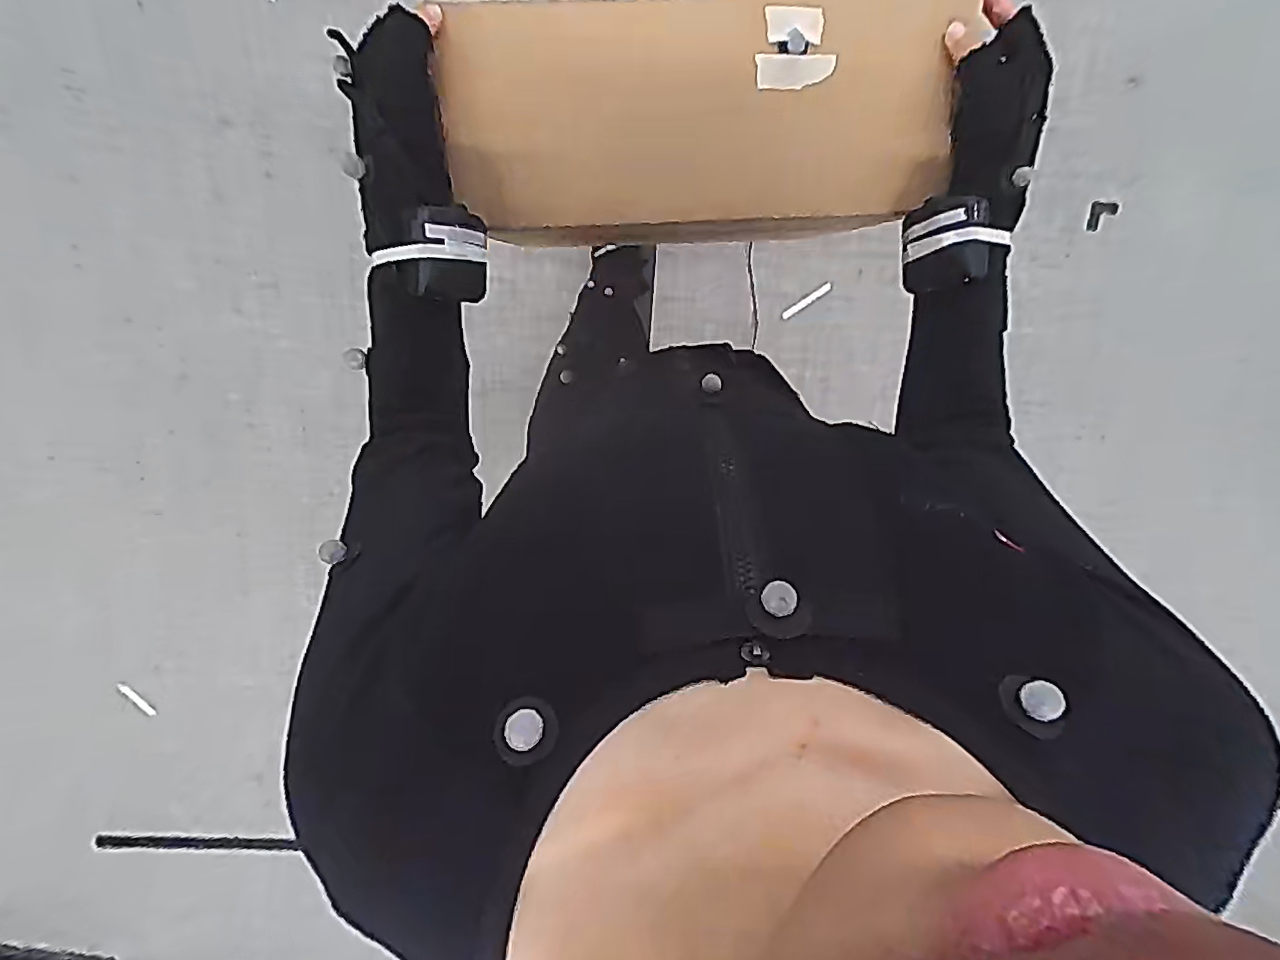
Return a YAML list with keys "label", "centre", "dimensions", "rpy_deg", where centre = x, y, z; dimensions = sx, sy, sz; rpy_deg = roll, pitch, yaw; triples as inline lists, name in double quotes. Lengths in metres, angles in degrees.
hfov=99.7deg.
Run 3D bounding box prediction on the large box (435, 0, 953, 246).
- label: "large box"
  centre: [0.034, -0.424, 0.546]
  dimensions: [0.408, 0.320, 0.320]
  rpy_deg: [-3, 111, -2]
